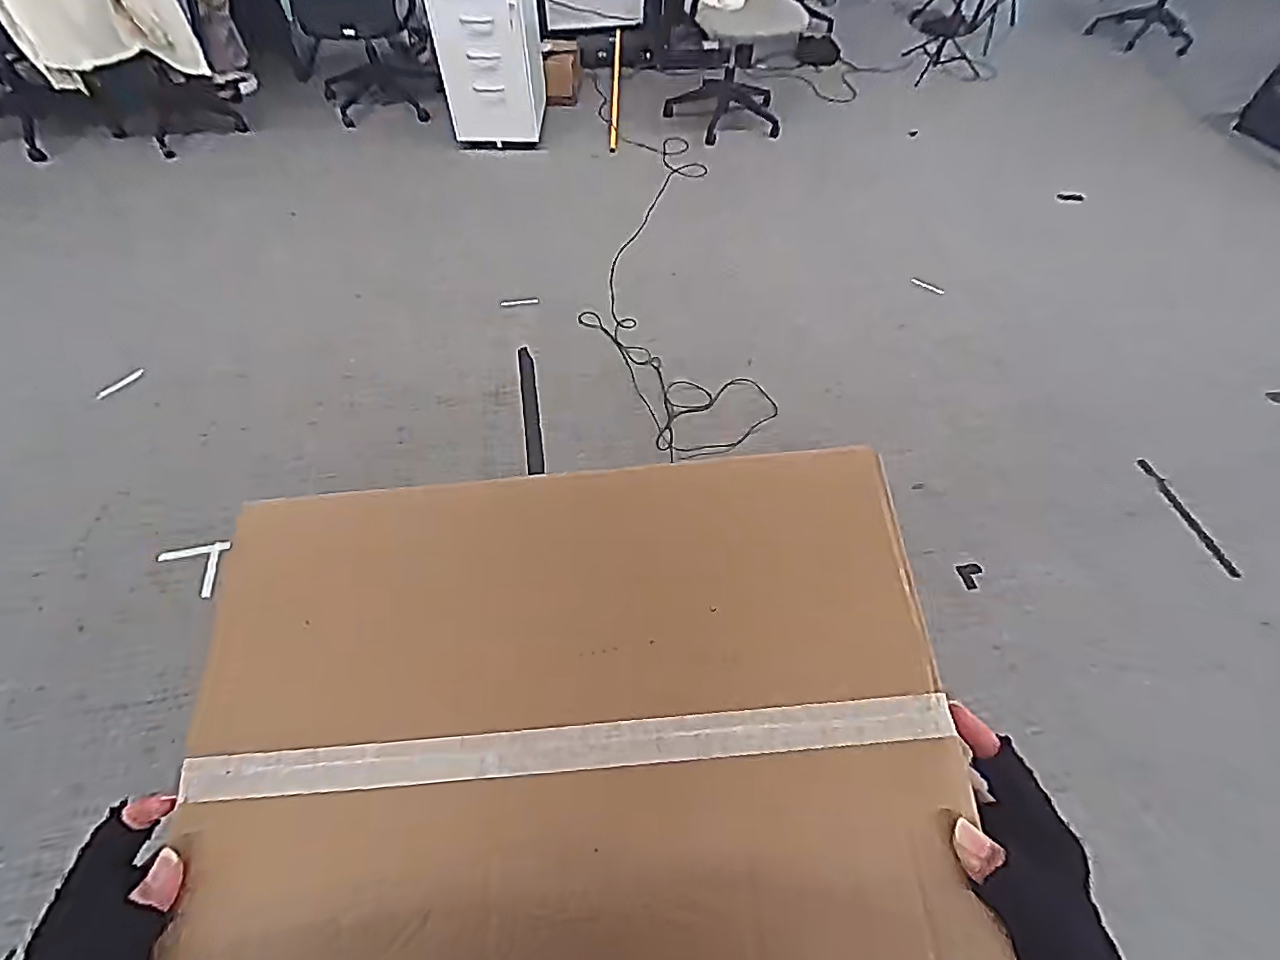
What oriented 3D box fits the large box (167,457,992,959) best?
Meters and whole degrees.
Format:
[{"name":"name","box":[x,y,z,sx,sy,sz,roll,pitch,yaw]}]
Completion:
[{"name":"large box","box":[-0.033,0.200,0.432,0.408,0.320,0.320,-5,67,1]}]
